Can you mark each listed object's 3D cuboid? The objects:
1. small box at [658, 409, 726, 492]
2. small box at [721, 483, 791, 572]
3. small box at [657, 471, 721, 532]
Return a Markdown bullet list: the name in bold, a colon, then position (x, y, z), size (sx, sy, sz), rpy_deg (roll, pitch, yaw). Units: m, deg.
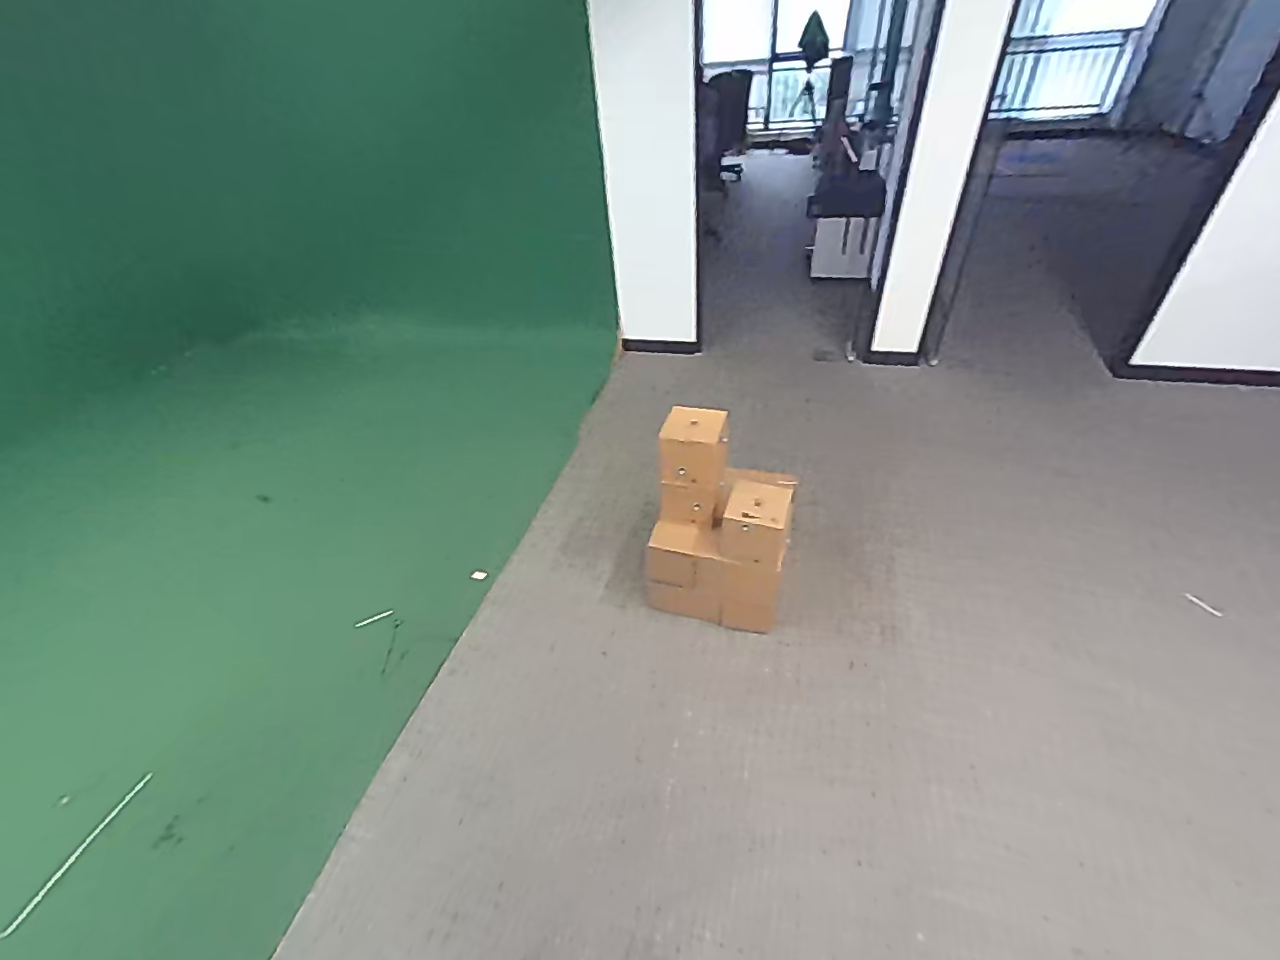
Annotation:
- **small box**: position (0.157, -0.089, 1.616), size (0.168, 0.176, 0.179), rpy_deg (9, 41, 17)
- **small box**: position (0.334, 0.137, 1.570), size (0.168, 0.176, 0.179), rpy_deg (10, 39, 18)
- **small box**: position (0.162, 0.042, 1.716), size (0.168, 0.176, 0.179), rpy_deg (9, 39, 17)
